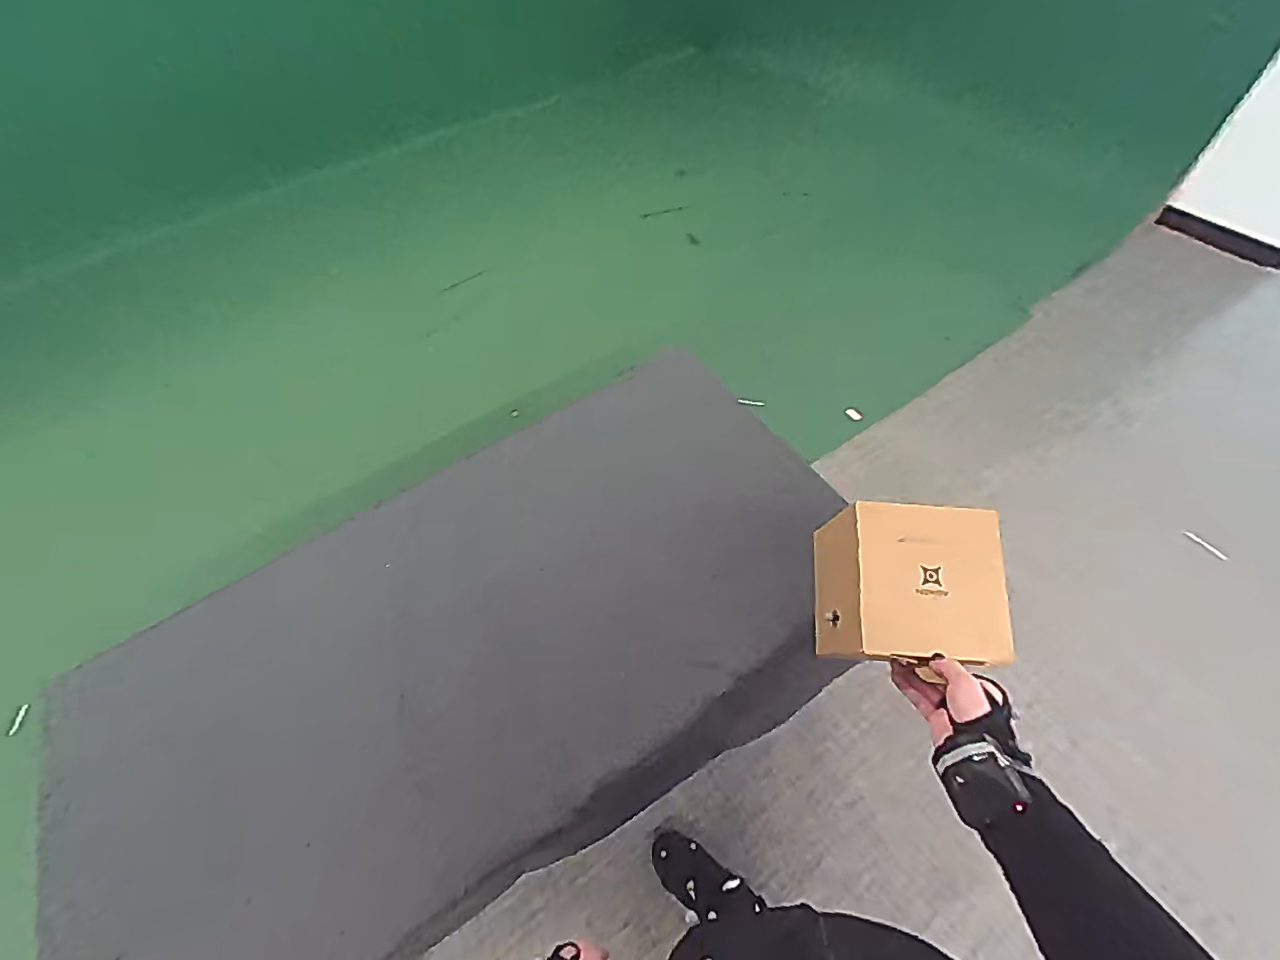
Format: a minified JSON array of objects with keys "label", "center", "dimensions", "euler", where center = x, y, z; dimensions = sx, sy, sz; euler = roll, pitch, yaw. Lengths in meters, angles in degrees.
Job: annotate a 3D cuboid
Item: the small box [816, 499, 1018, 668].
[{"label":"small box","center":[0.328,0.137,0.678],"dimensions":[0.168,0.176,0.179],"euler":[5,70,1]}]
